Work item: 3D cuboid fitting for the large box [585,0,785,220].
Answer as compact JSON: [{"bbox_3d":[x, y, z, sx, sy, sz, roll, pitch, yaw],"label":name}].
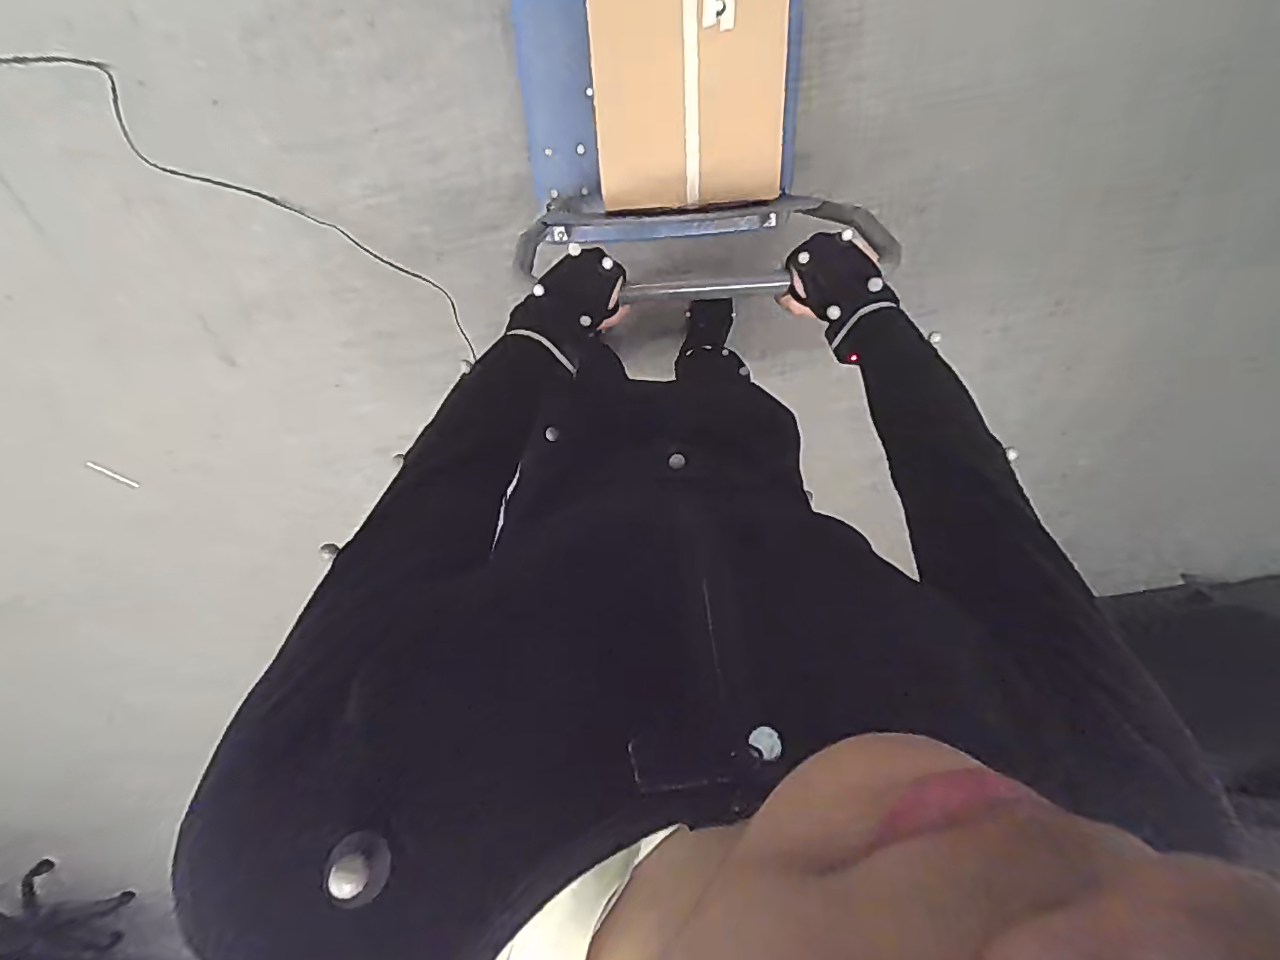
[{"bbox_3d":[0.074,-0.720,1.006,0.320,0.320,0.408,-5,115,-1],"label":"large box"}]
